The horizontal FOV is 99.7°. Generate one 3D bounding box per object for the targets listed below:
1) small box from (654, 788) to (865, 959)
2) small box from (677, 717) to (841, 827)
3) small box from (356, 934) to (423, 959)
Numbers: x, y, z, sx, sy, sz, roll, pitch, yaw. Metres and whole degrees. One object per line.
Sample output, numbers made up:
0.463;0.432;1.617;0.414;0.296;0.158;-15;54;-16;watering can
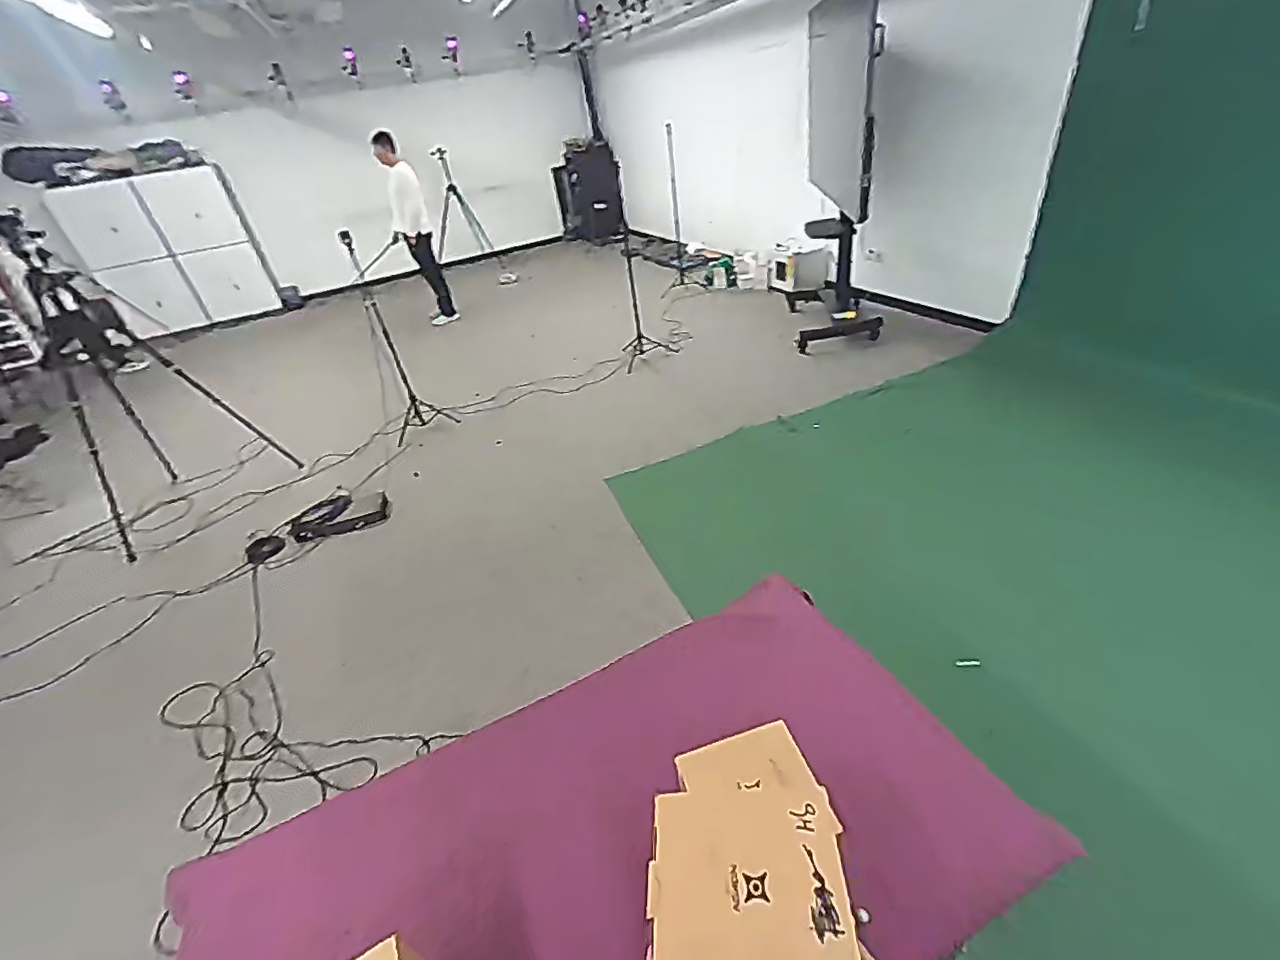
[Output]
0.119;0.427;0.531;0.179;0.176;0.168;-9;38;12;small box
0.167;0.485;0.779;0.179;0.176;0.168;-15;35;-8;small box
-0.314;0.682;0.614;0.179;0.176;0.168;-24;37;-20;small box
